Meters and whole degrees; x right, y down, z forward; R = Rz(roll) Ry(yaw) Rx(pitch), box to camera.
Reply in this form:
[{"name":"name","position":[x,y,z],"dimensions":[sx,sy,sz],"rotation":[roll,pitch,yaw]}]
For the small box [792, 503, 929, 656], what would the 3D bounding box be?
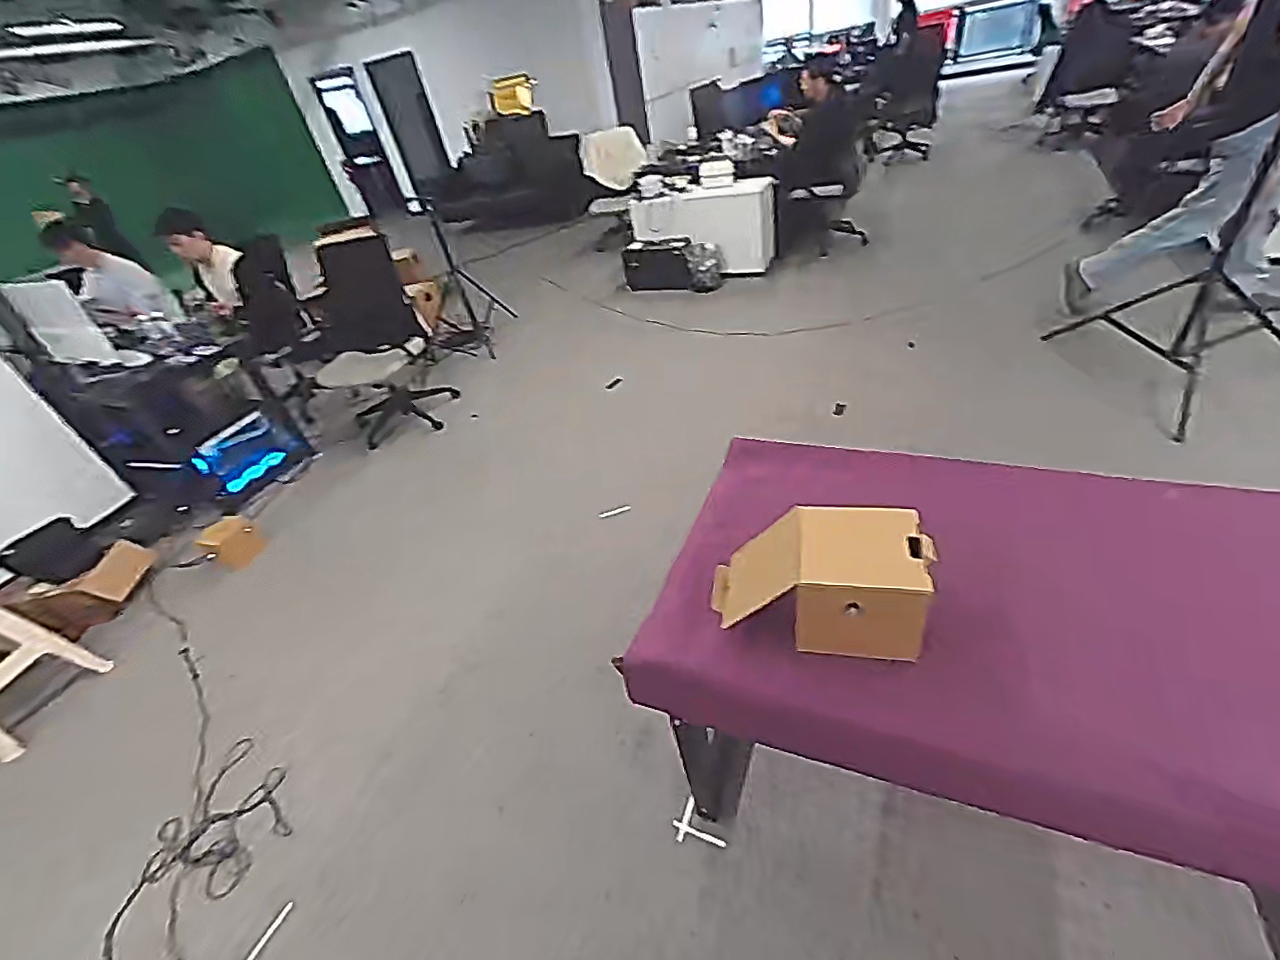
[{"name":"small box","position":[0.331,0.153,0.838],"dimensions":[0.179,0.176,0.168],"rotation":[1,41,17]}]
